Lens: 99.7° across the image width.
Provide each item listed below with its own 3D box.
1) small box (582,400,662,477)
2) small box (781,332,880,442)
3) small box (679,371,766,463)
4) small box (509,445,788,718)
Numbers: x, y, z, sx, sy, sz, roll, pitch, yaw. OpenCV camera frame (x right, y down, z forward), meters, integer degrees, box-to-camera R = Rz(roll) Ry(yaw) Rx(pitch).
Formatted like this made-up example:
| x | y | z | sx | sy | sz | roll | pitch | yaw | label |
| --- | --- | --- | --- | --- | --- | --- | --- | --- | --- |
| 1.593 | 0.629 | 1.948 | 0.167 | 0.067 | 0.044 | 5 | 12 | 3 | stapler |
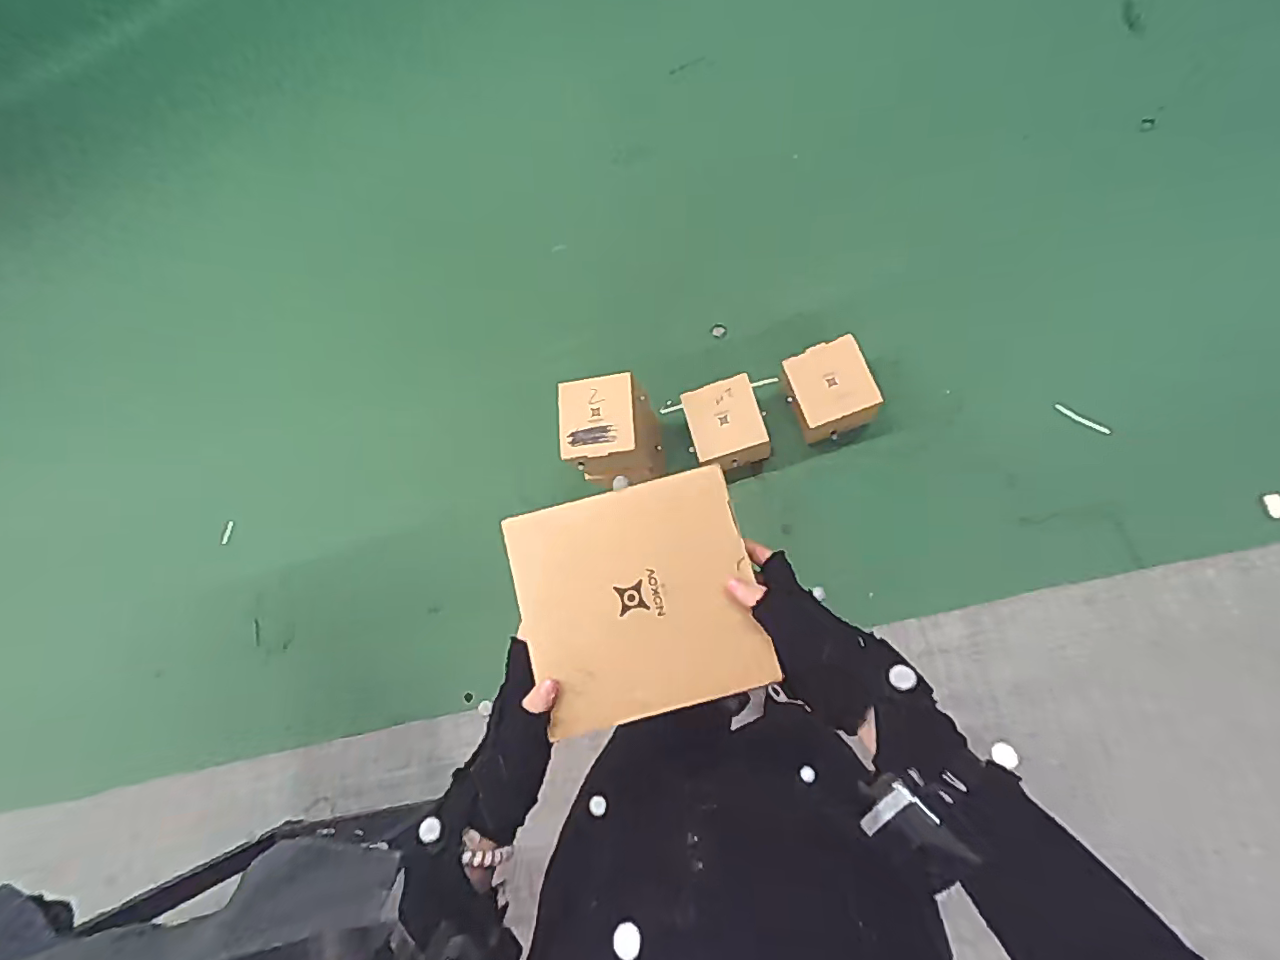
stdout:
| x | y | z | sx | sy | sz | roll | pitch | yaw | label |
| --- | --- | --- | --- | --- | --- | --- | --- | --- | --- |
| -0.042 | -0.087 | 1.370 | 0.168 | 0.176 | 0.179 | -4 | 80 | 13 | small box |
| 0.439 | -0.212 | 1.279 | 0.168 | 0.176 | 0.179 | -20 | 76 | 9 | small box |
| 0.207 | -0.137 | 1.319 | 0.168 | 0.176 | 0.179 | -17 | 76 | 10 | small box |
| 0.006 | 0.088 | 0.471 | 0.179 | 0.176 | 0.168 | -15 | 78 | -1 | small box |
